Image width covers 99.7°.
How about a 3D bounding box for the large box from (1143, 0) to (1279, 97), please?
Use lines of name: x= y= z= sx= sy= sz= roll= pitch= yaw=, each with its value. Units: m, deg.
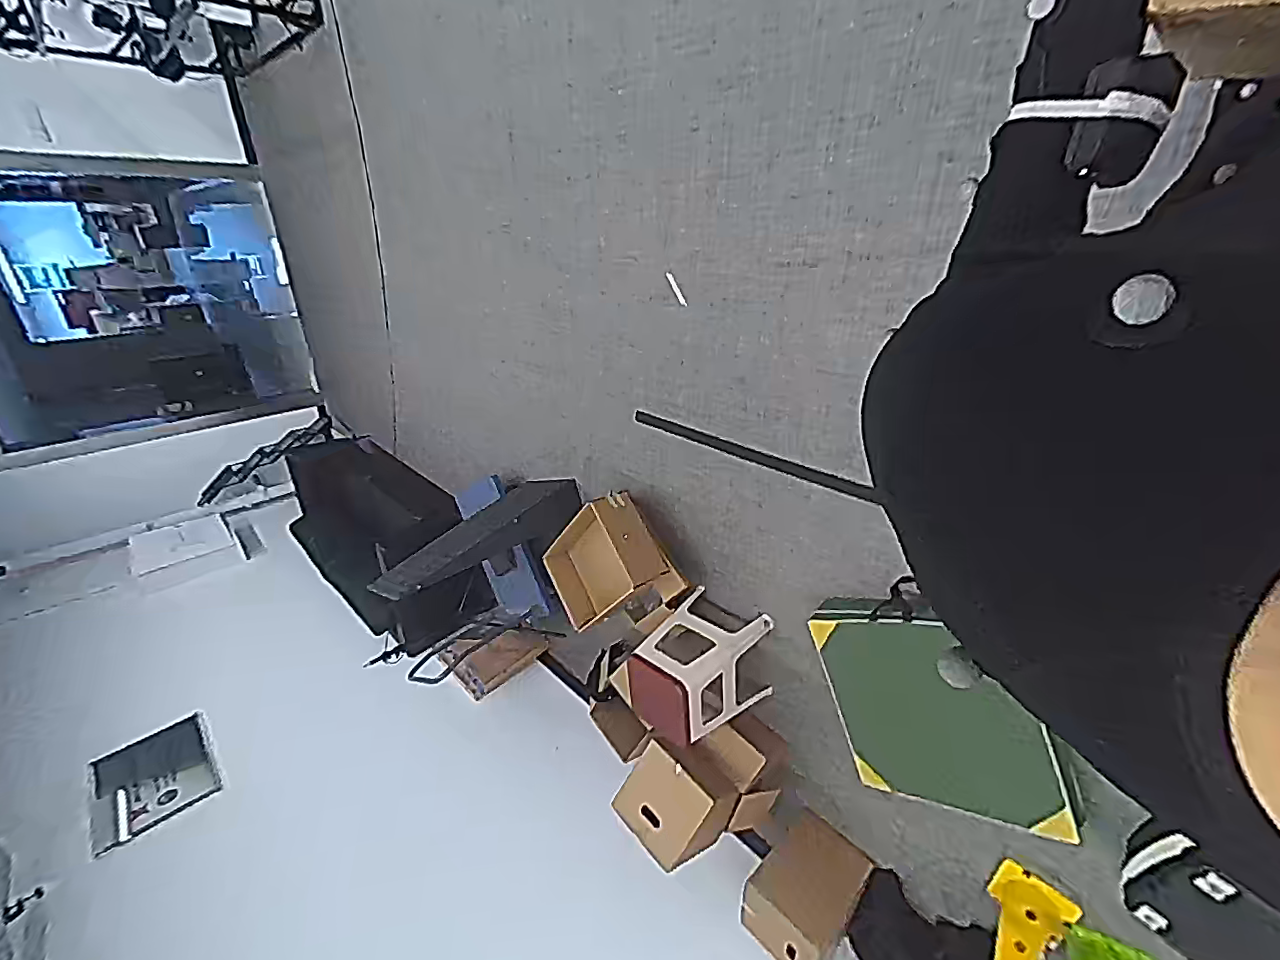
large box: x=0.561 y=-0.396 z=0.250 sx=0.408 sy=0.320 sz=0.320 roll=25 pitch=128 yaw=35
